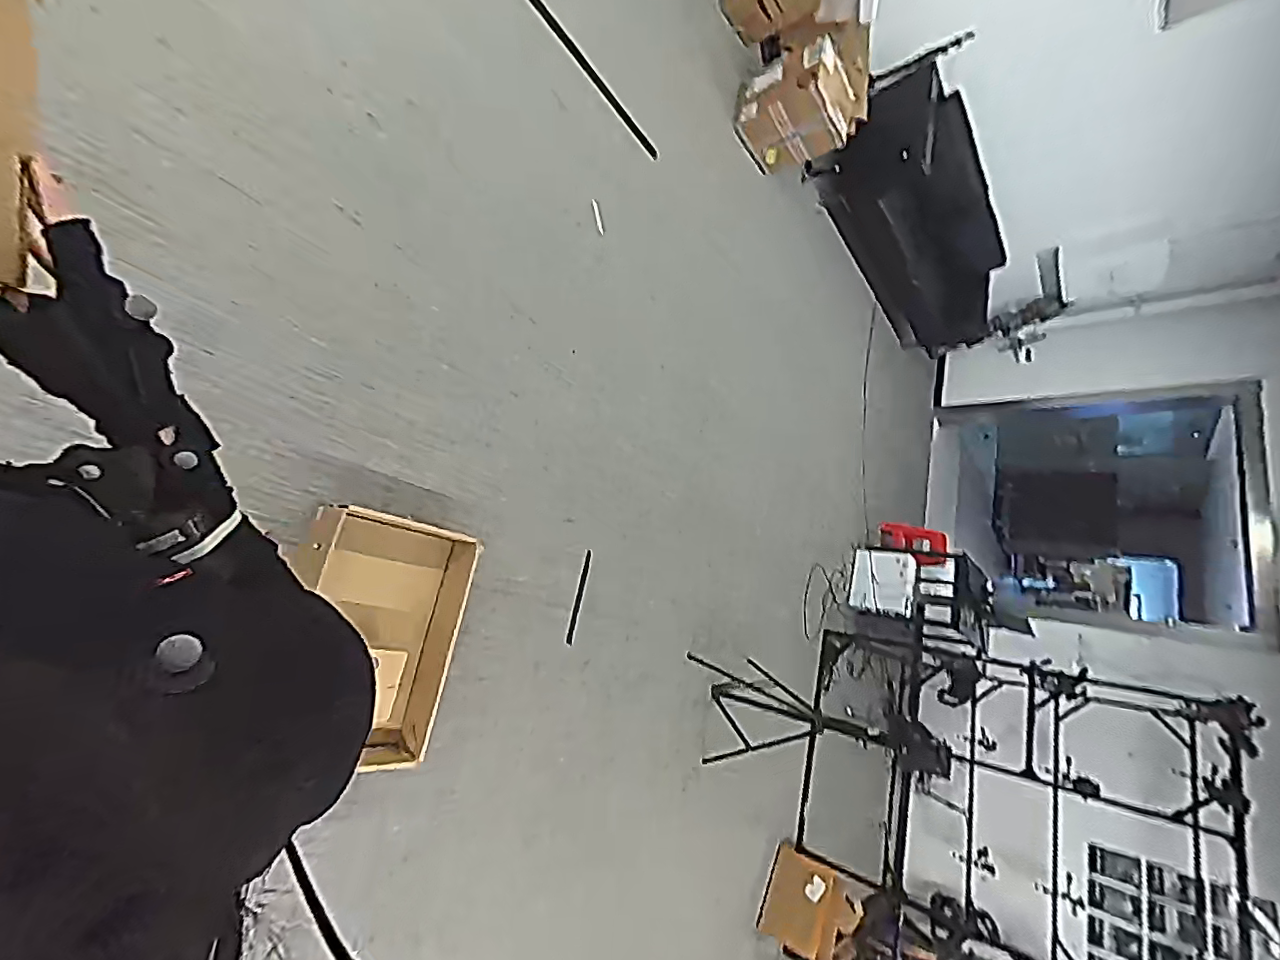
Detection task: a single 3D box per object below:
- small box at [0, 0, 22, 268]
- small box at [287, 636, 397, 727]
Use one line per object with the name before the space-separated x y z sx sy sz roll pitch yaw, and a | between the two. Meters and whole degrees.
small box | -0.468 -0.229 0.295 0.168 0.176 0.179 2 102 -48
small box | -0.743 0.498 1.343 0.168 0.176 0.179 27 68 -47
